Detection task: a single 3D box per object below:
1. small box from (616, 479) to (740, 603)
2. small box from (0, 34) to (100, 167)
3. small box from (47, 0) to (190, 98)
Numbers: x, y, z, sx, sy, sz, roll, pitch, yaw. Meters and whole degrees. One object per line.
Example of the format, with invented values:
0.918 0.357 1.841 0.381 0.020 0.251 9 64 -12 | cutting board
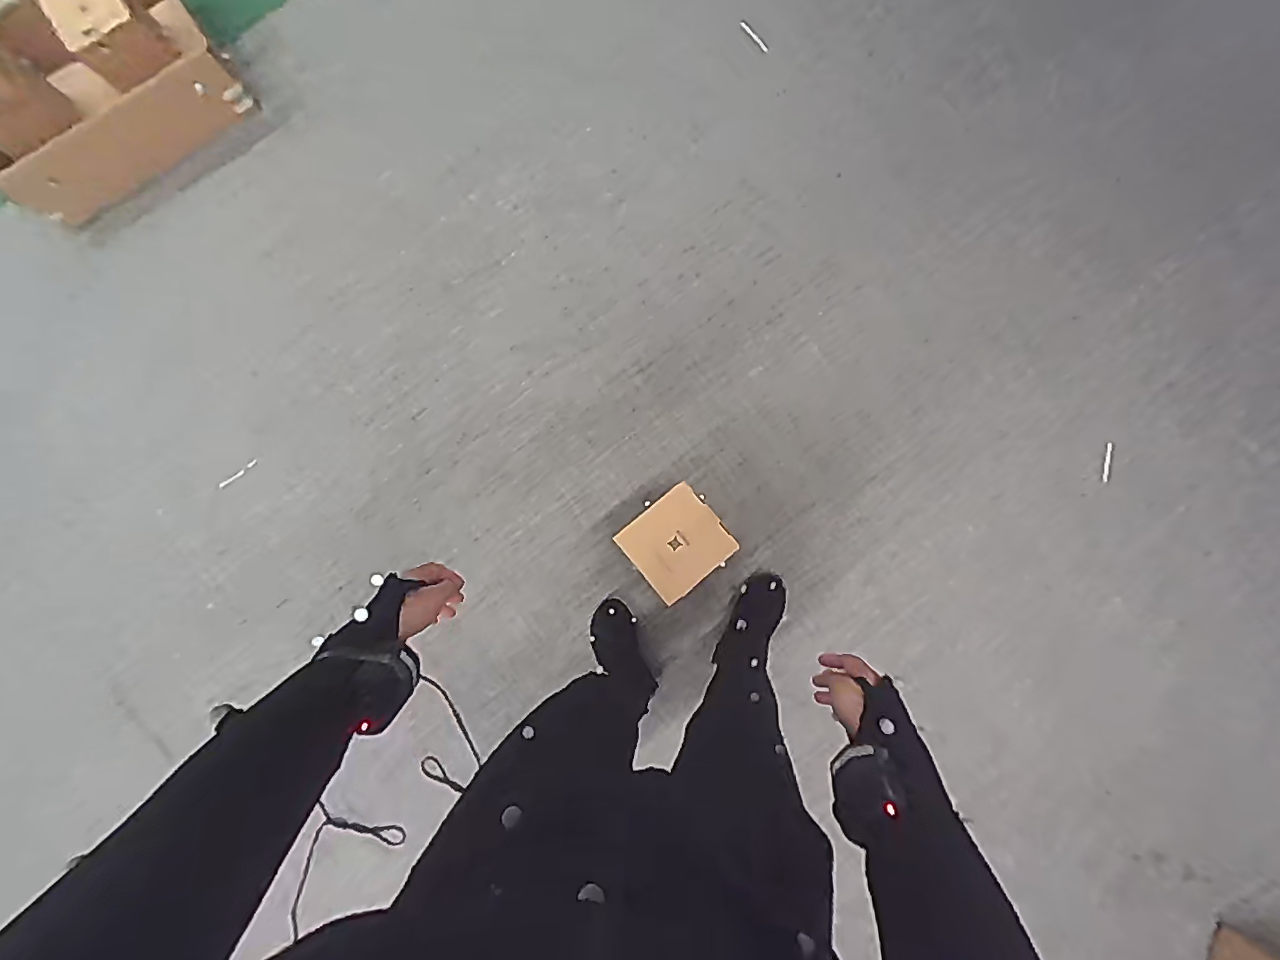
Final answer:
0.072 0.118 1.084 0.179 0.176 0.168 -39 84 -1 | small box
-1.502 -0.917 1.317 0.168 0.176 0.179 -38 86 -2 | small box
-1.279 -1.106 1.332 0.168 0.176 0.179 -32 86 -1 | small box
